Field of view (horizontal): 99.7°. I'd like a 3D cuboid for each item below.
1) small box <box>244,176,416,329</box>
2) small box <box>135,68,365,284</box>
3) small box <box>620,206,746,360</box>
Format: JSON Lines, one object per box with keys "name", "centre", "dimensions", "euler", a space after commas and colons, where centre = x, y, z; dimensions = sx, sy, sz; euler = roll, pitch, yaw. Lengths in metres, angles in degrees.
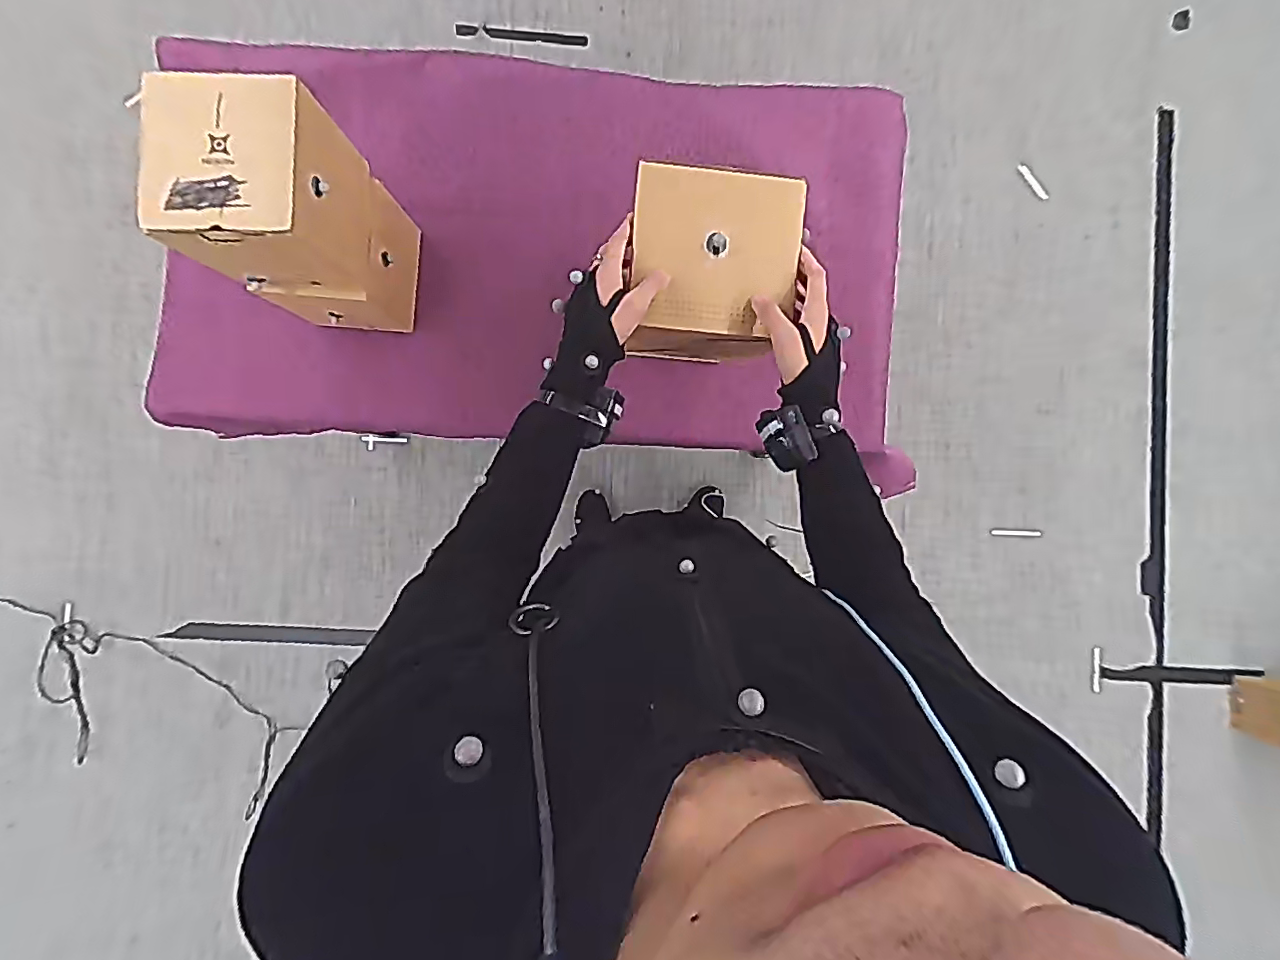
{"name": "small box", "centre": [-0.457, -0.340, 0.822], "dimensions": [0.168, 0.176, 0.179], "euler": [5, 90, -2]}
{"name": "small box", "centre": [-0.456, -0.351, 0.658], "dimensions": [0.168, 0.176, 0.179], "euler": [1, 89, -2]}
{"name": "small box", "centre": [0.061, -0.292, 0.840], "dimensions": [0.168, 0.176, 0.179], "euler": [5, 89, -1]}
